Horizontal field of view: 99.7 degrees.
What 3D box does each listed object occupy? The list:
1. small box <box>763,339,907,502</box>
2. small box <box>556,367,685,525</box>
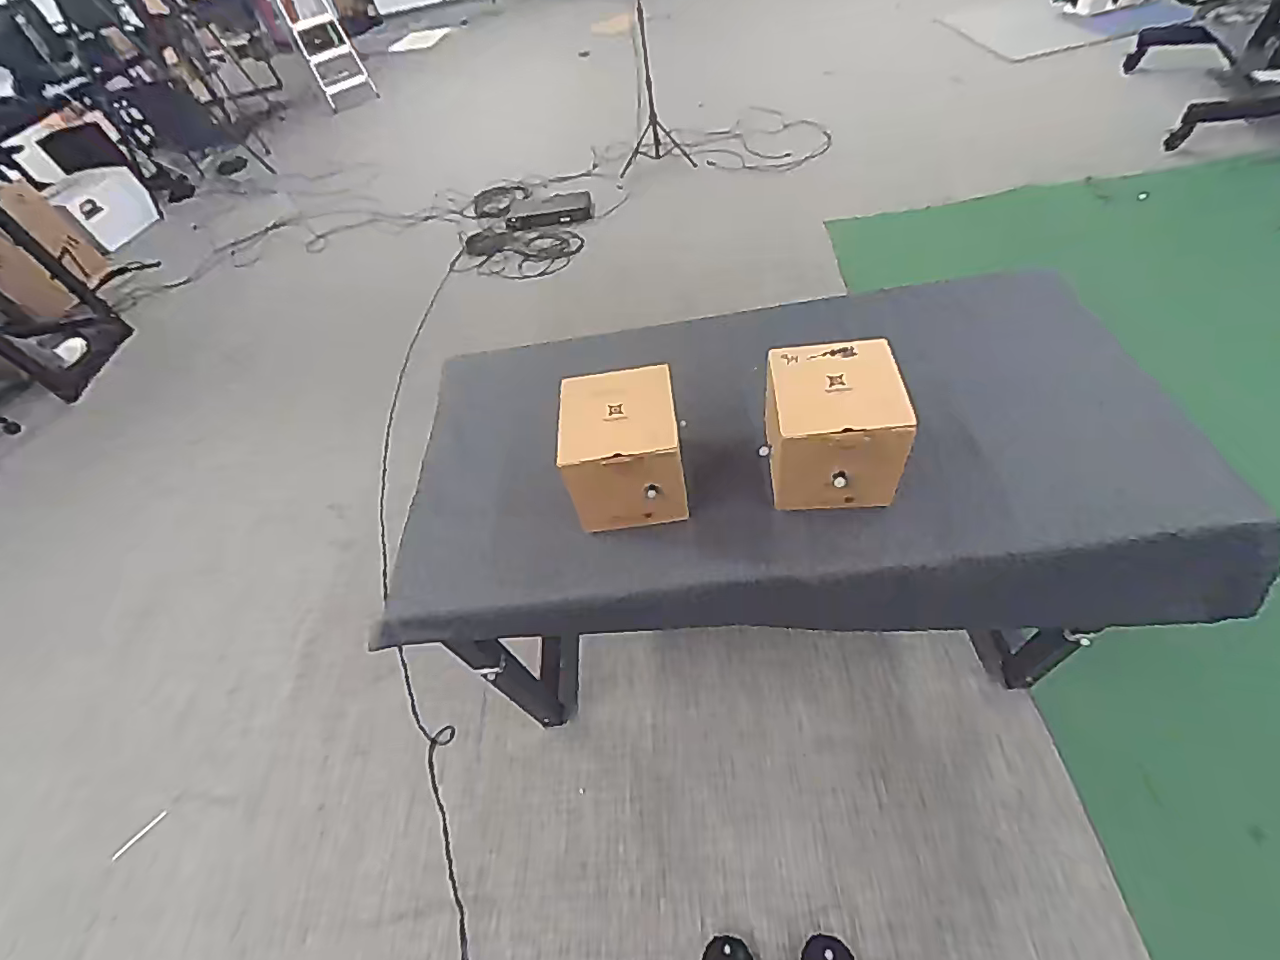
[{"bbox_3d":[0.271,-0.078,0.796,0.168,0.176,0.179,-4,53,9],"label":"small box"},{"bbox_3d":[-0.026,-0.044,0.834,0.168,0.176,0.179,-8,50,4],"label":"small box"}]
